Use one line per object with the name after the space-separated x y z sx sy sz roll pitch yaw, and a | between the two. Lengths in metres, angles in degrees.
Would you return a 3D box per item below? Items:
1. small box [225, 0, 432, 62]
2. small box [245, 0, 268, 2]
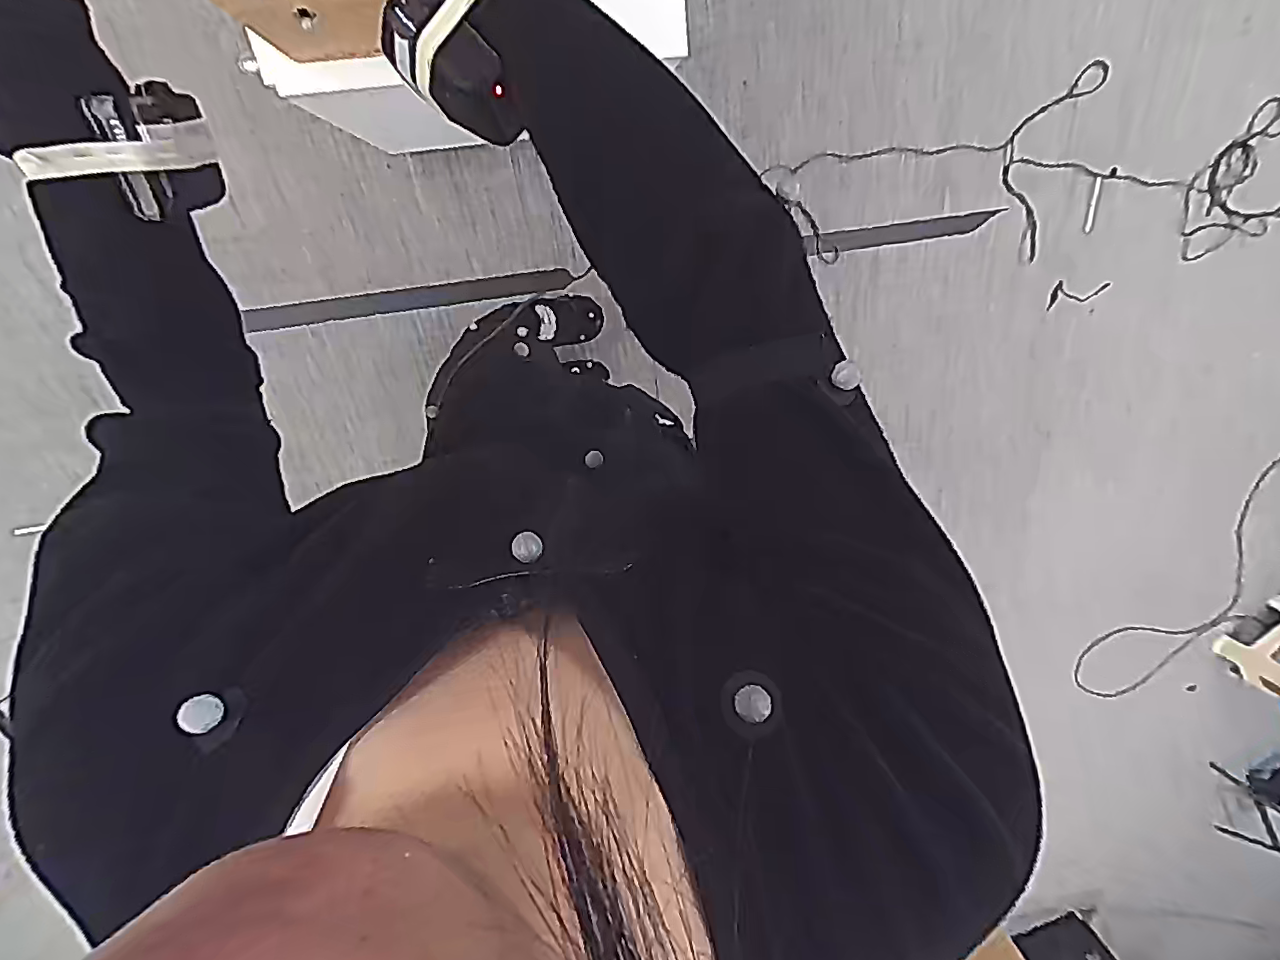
-0.319 -0.546 0.530 0.168 0.176 0.179 -10 115 -7 | small box
-0.289 -0.478 0.384 0.168 0.176 0.179 -11 116 -6 | small box
